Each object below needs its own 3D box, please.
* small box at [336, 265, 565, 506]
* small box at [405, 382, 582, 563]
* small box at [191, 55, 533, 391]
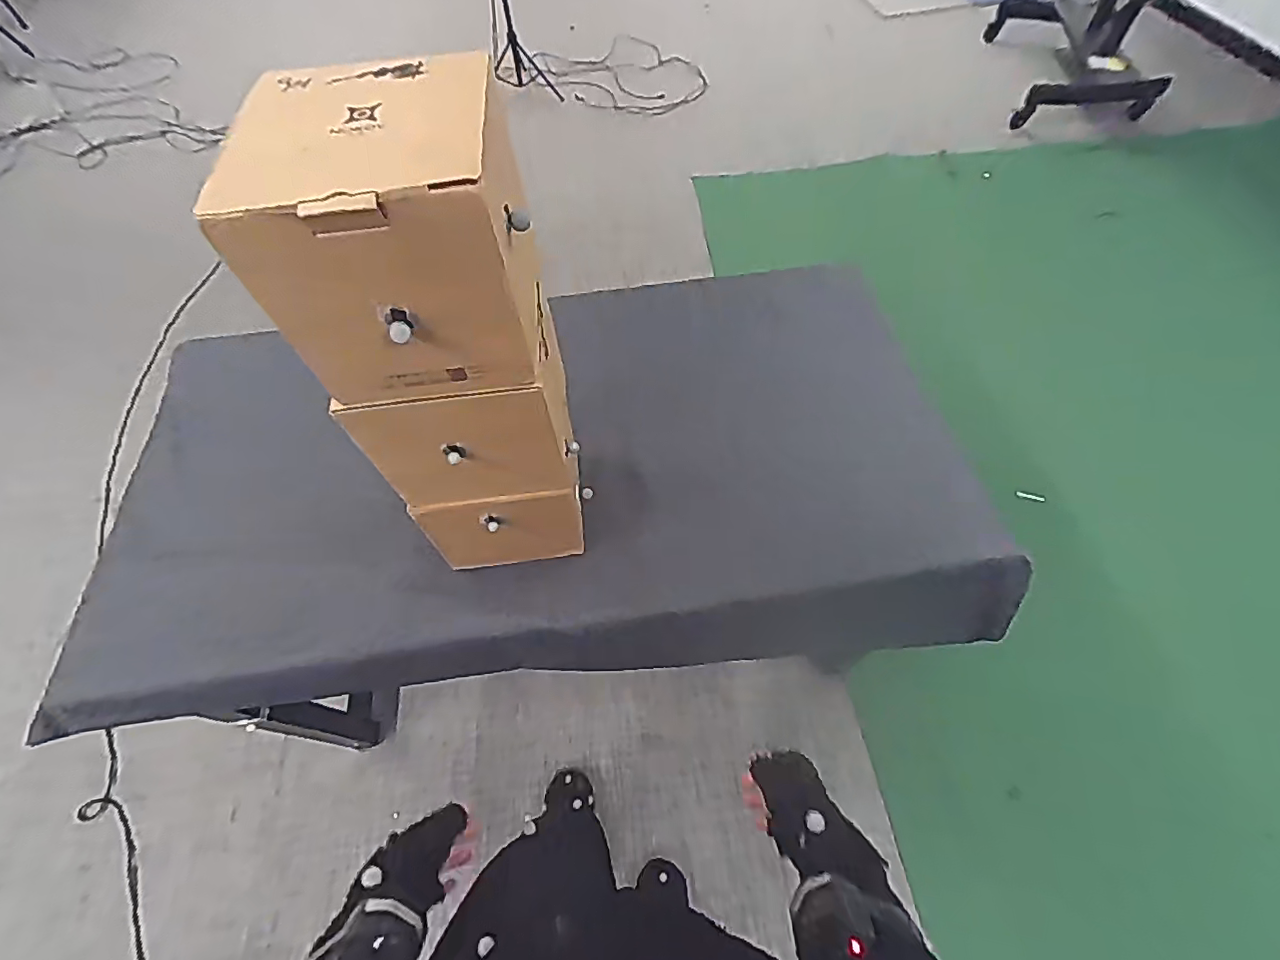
[{"bbox_3d":[-0.173,-0.090,0.552,0.179,0.176,0.168,-8,60,-4],"label":"small box"},{"bbox_3d":[-0.174,-0.004,0.691,0.179,0.176,0.168,-7,59,-4],"label":"small box"},{"bbox_3d":[-0.179,-0.183,0.417,0.168,0.176,0.179,-6,60,-2],"label":"small box"}]
